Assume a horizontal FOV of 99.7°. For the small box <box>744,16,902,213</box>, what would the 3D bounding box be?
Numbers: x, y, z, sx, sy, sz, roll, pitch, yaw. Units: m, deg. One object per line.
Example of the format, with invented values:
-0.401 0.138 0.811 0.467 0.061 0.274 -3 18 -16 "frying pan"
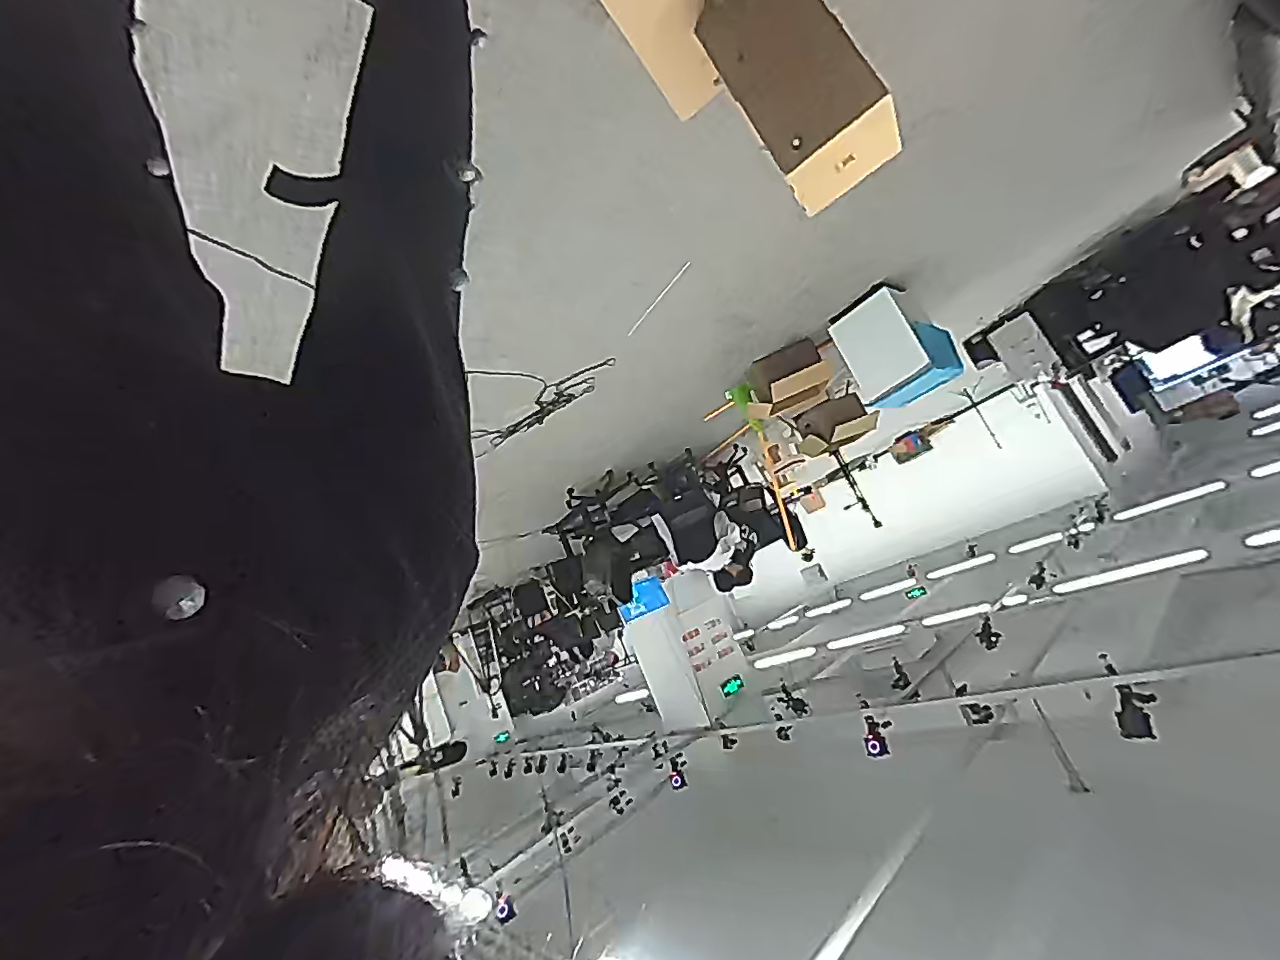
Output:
0.303 -0.596 0.896 0.179 0.176 0.168 -31 166 28 "small box"
